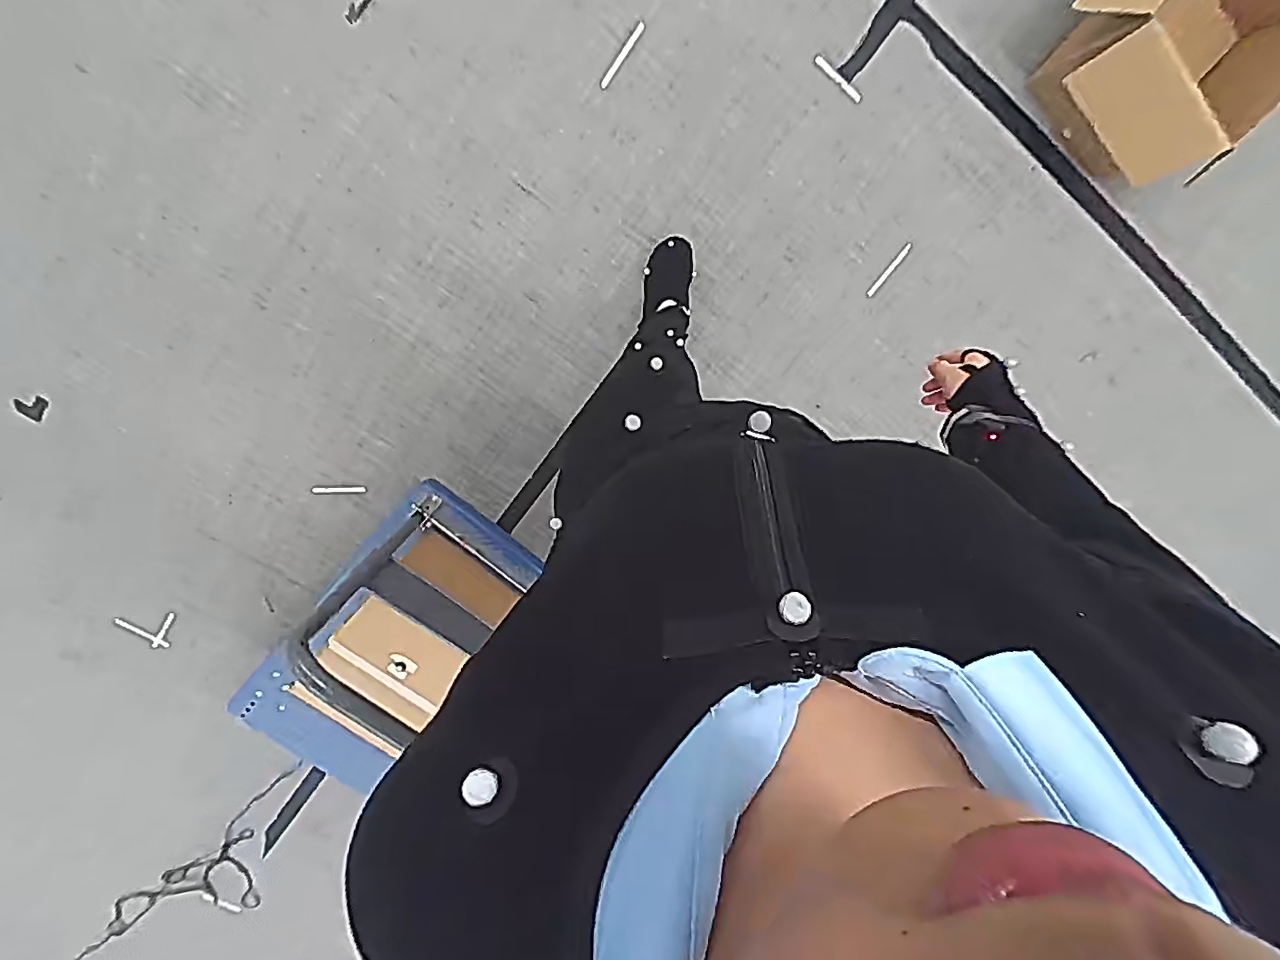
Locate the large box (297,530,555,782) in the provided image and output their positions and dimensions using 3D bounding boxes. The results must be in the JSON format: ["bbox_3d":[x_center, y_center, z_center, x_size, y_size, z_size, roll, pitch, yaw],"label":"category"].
[{"bbox_3d":[-0.460,0.394,1.261,0.408,0.320,0.320,42,100,-13],"label":"large box"}]
